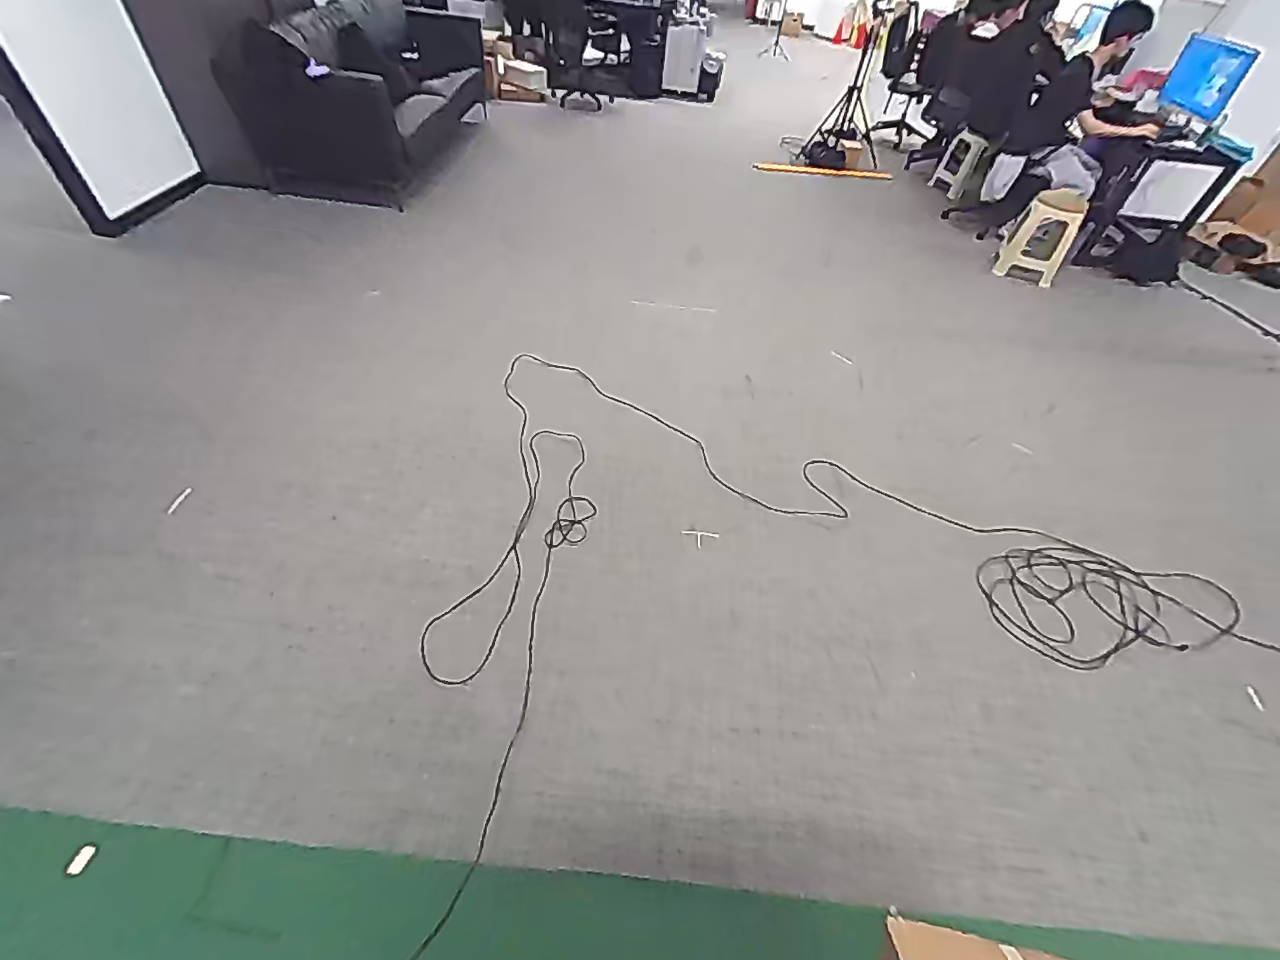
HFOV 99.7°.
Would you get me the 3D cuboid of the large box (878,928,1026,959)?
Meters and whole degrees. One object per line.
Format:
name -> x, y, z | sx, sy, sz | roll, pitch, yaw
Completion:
large box -> 0.440, 0.794, 0.542 | 0.320, 0.408, 0.320 | 10, 89, 8
